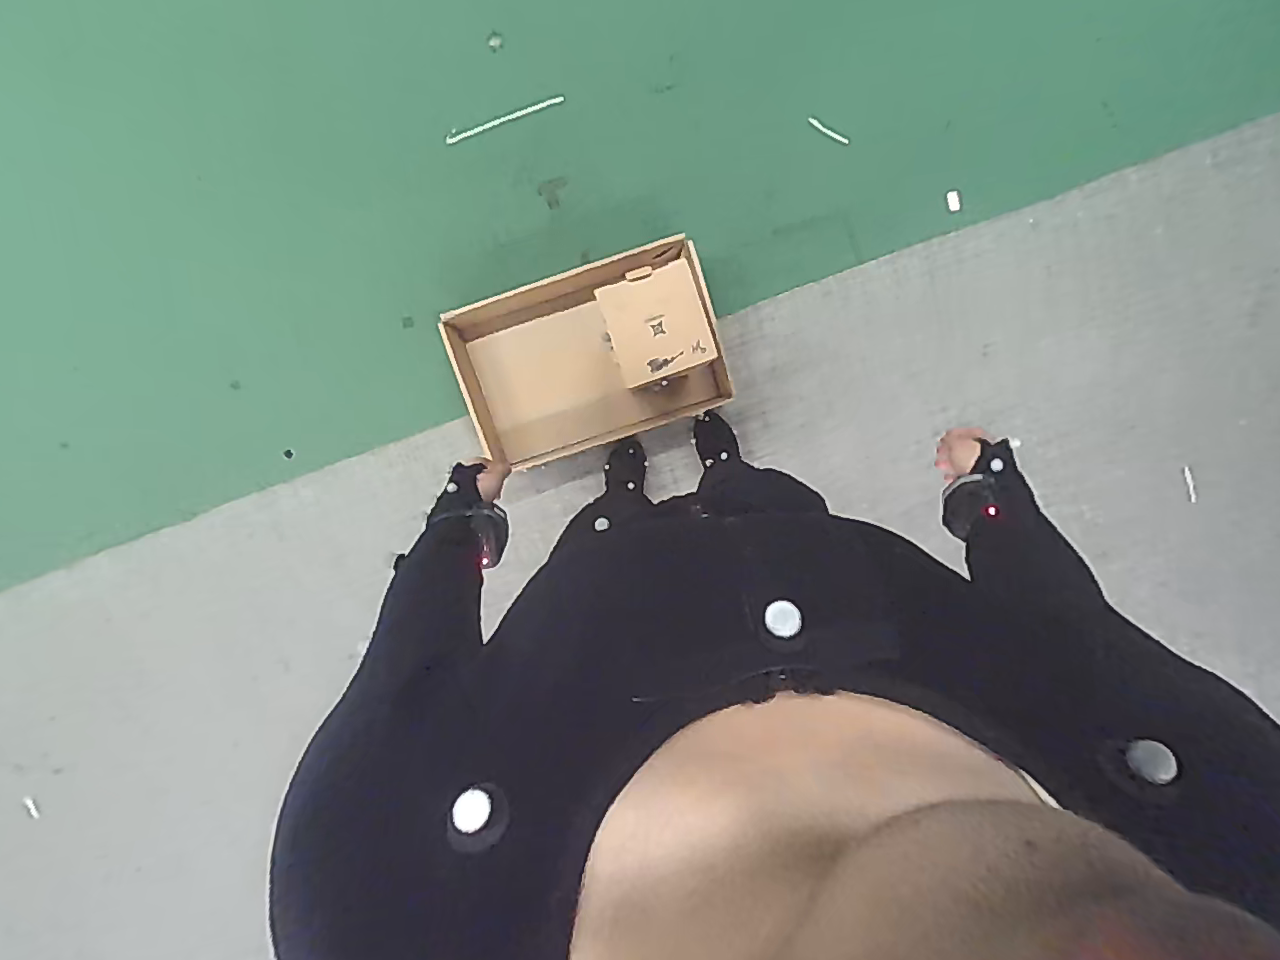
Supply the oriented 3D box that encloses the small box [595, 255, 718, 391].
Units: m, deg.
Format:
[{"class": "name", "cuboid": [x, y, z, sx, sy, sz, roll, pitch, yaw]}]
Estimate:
[{"class": "small box", "cuboid": [0.026, -0.271, 0.975, 0.168, 0.176, 0.179, -20, 97, 2]}]
